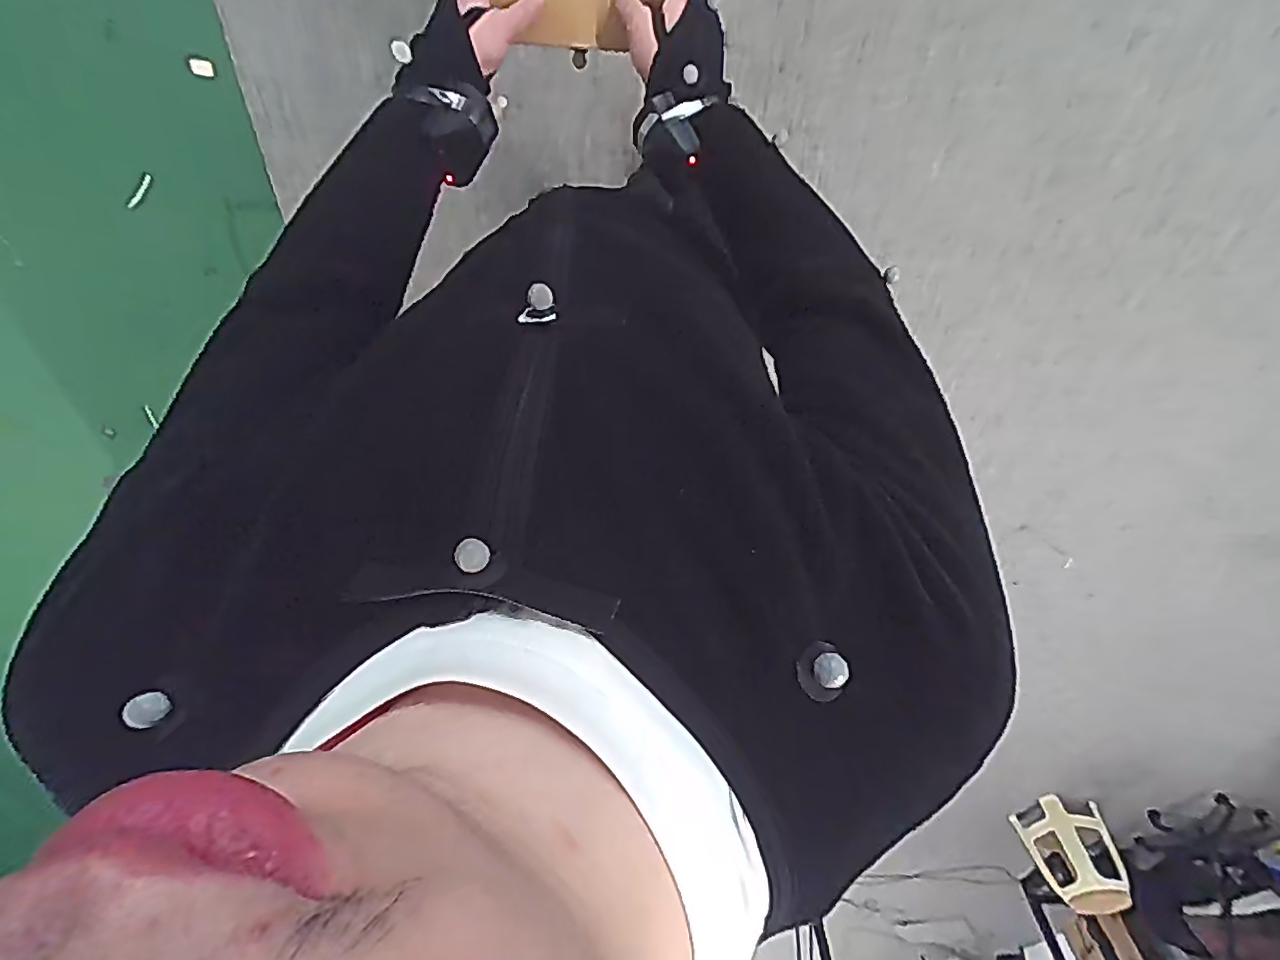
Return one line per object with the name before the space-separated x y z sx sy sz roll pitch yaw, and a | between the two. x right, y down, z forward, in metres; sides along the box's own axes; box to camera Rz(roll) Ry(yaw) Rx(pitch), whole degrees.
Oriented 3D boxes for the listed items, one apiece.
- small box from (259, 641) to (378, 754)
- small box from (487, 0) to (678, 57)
small box | -0.718 0.491 1.229 0.168 0.176 0.179 9 126 -5
small box | -0.045 -0.504 0.491 0.168 0.176 0.179 4 129 -3
